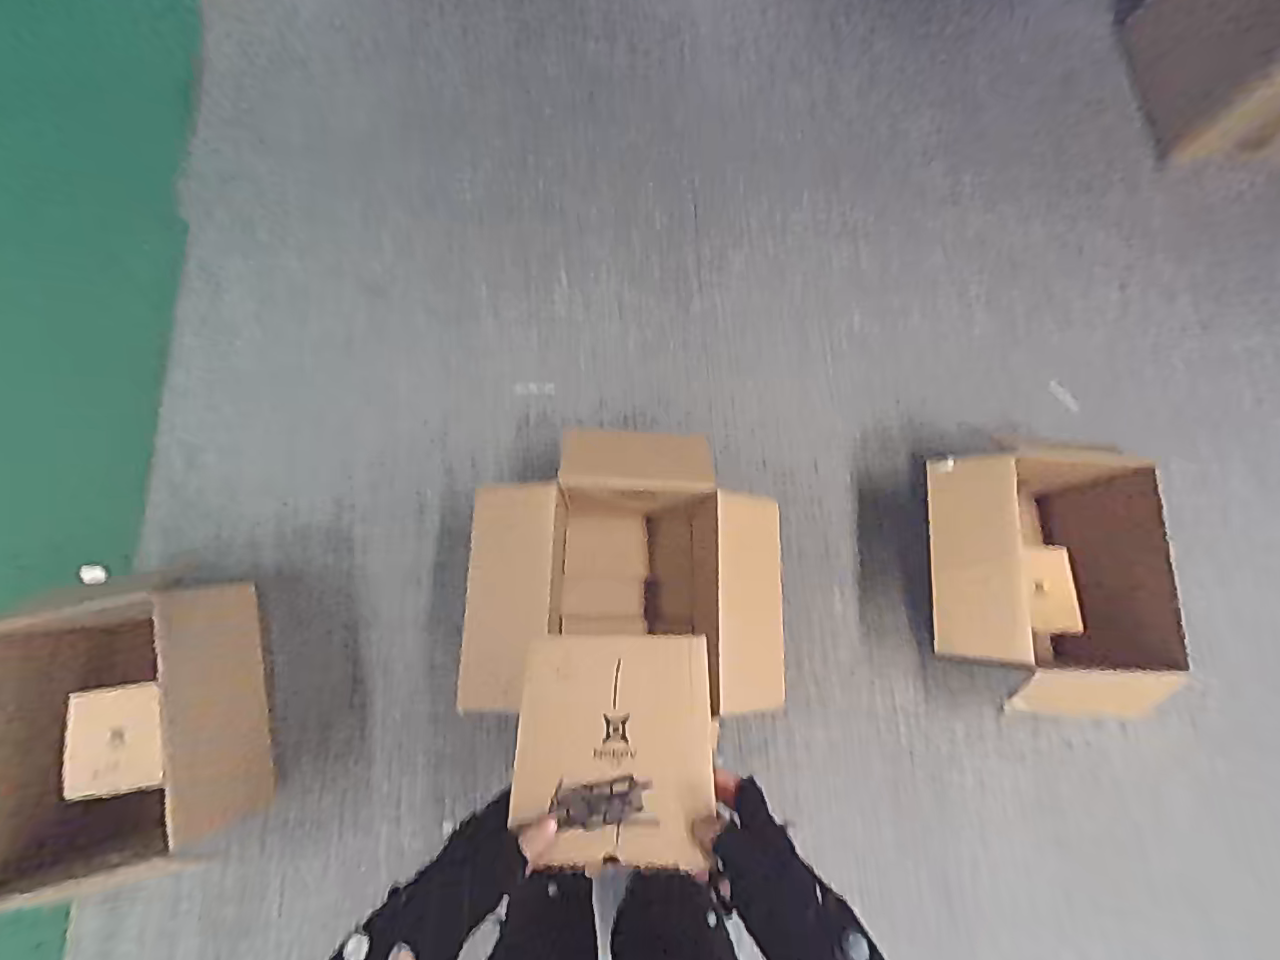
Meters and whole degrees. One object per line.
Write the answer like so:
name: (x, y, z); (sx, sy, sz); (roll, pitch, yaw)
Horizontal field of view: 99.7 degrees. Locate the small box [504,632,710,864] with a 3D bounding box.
small box: (-0.021, 0.256, 0.528); (0.168, 0.176, 0.179); (0, 60, 2)
